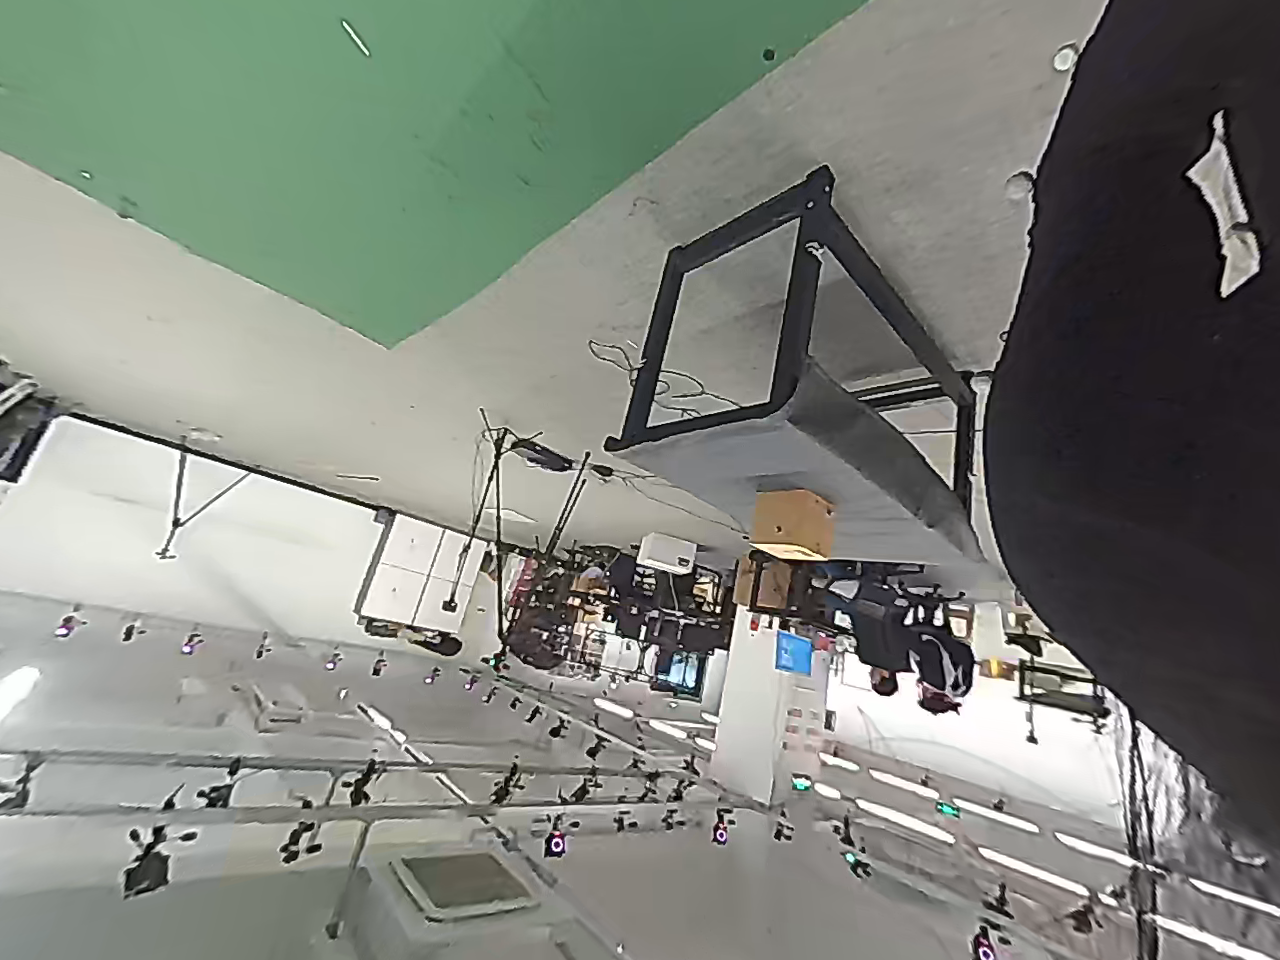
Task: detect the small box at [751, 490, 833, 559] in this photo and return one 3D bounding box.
[{"bbox_3d":[0.461,0.132,1.623,0.168,0.176,0.179,26,161,-36],"label":"small box"}]
